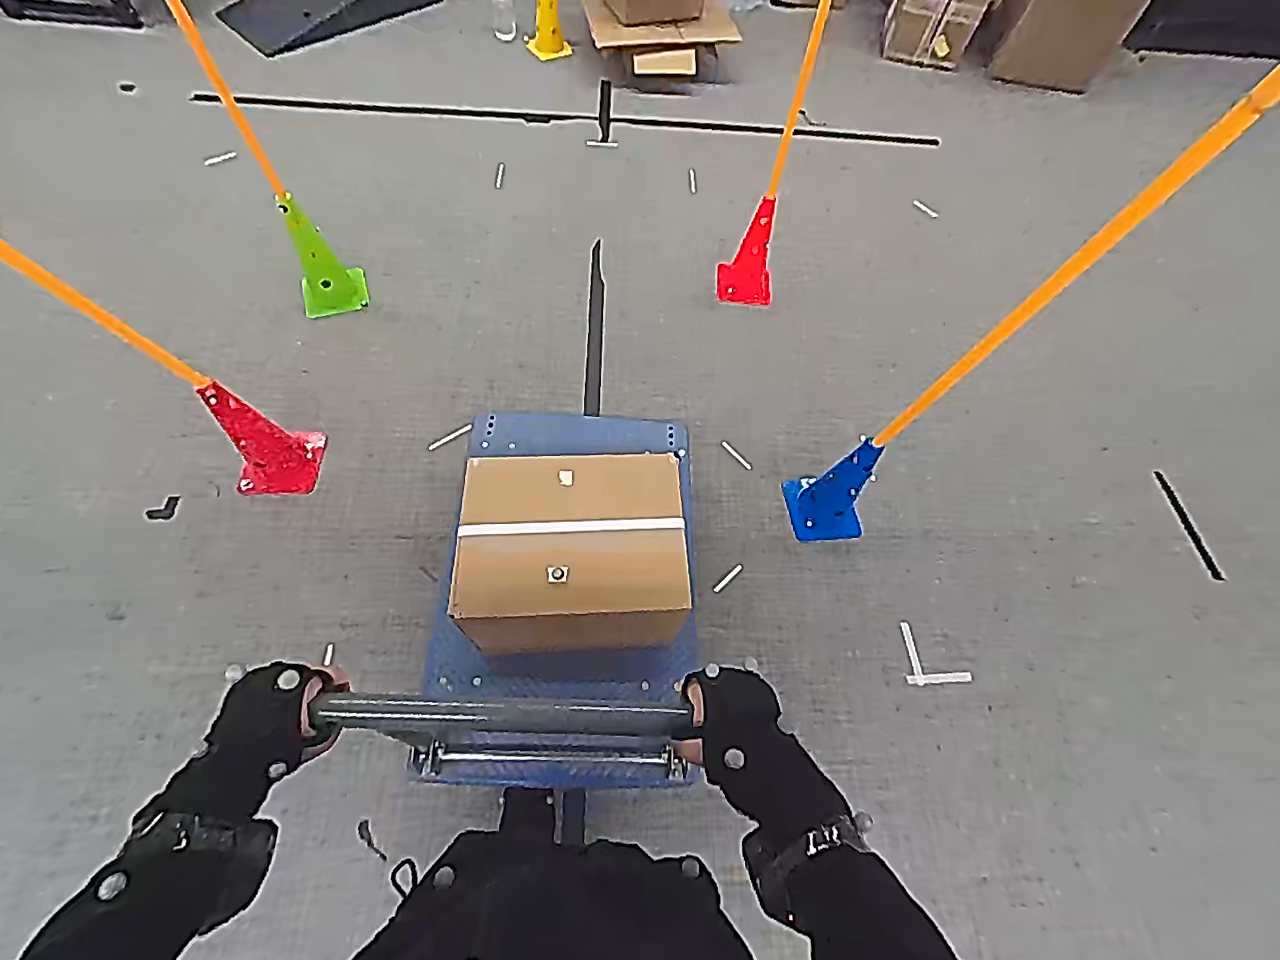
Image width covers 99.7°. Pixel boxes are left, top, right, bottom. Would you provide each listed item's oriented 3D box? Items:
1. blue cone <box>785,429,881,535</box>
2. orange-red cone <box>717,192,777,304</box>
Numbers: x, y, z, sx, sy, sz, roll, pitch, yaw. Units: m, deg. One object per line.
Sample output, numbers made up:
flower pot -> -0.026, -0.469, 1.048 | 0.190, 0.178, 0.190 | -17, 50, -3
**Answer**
blue cone -> 0.546, -0.008, 1.443 | 0.193, 0.380, 0.192 | -2, 61, -7
orange-red cone -> 0.401, -0.811, 1.849 | 0.199, 0.360, 0.198 | 7, 62, -2
